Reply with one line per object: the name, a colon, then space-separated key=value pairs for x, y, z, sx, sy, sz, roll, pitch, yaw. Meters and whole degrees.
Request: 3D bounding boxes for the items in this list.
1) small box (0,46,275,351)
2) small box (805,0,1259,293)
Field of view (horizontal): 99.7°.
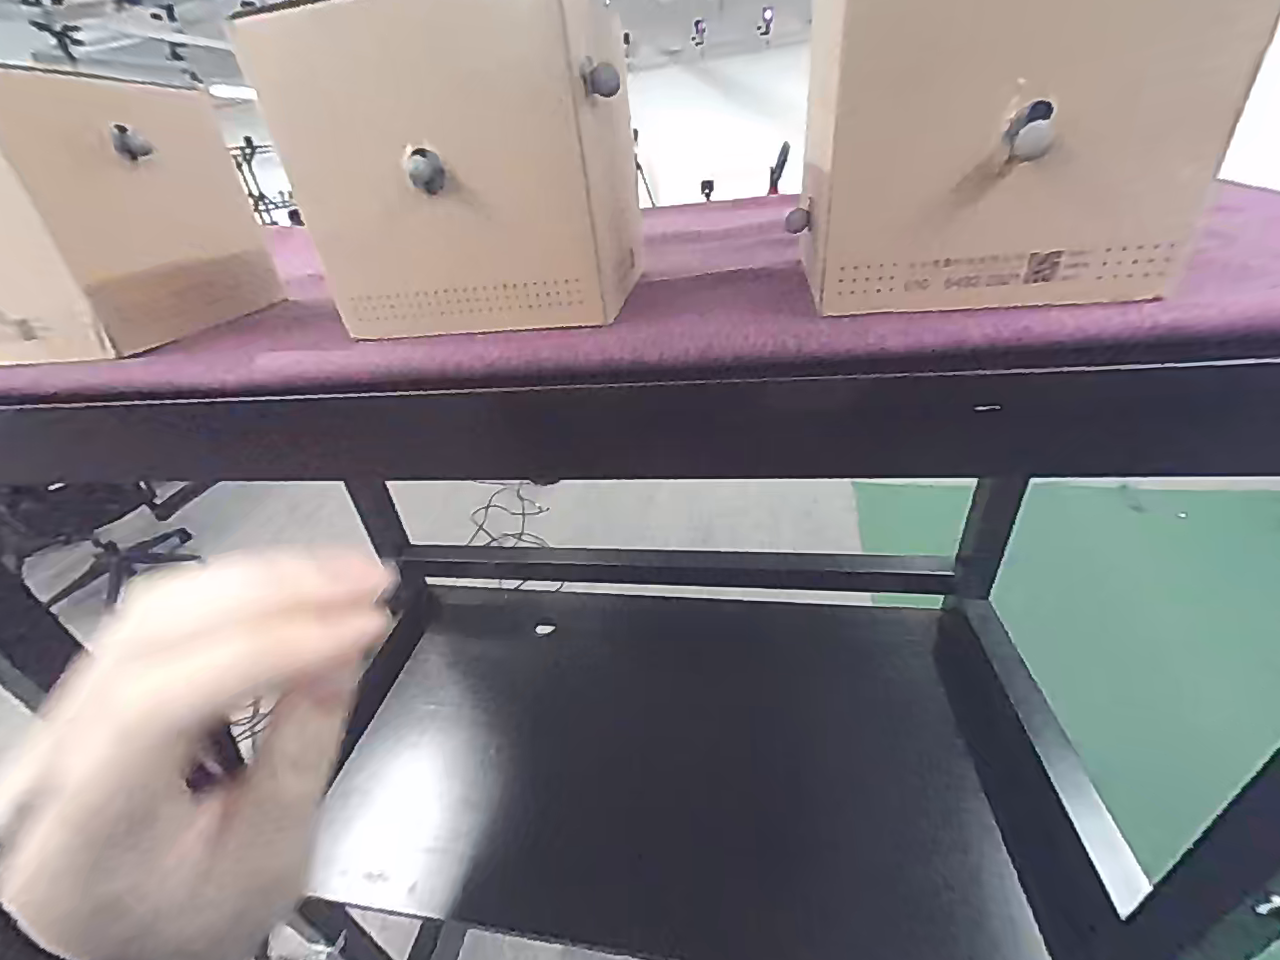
small box: x=-0.422 y=-0.203 z=0.409 sx=0.168 sy=0.176 sz=0.179 roll=-1 pitch=32 yaw=7
small box: x=0.186 y=-0.210 z=0.306 sx=0.168 sy=0.176 sz=0.179 roll=1 pitch=34 yaw=12
